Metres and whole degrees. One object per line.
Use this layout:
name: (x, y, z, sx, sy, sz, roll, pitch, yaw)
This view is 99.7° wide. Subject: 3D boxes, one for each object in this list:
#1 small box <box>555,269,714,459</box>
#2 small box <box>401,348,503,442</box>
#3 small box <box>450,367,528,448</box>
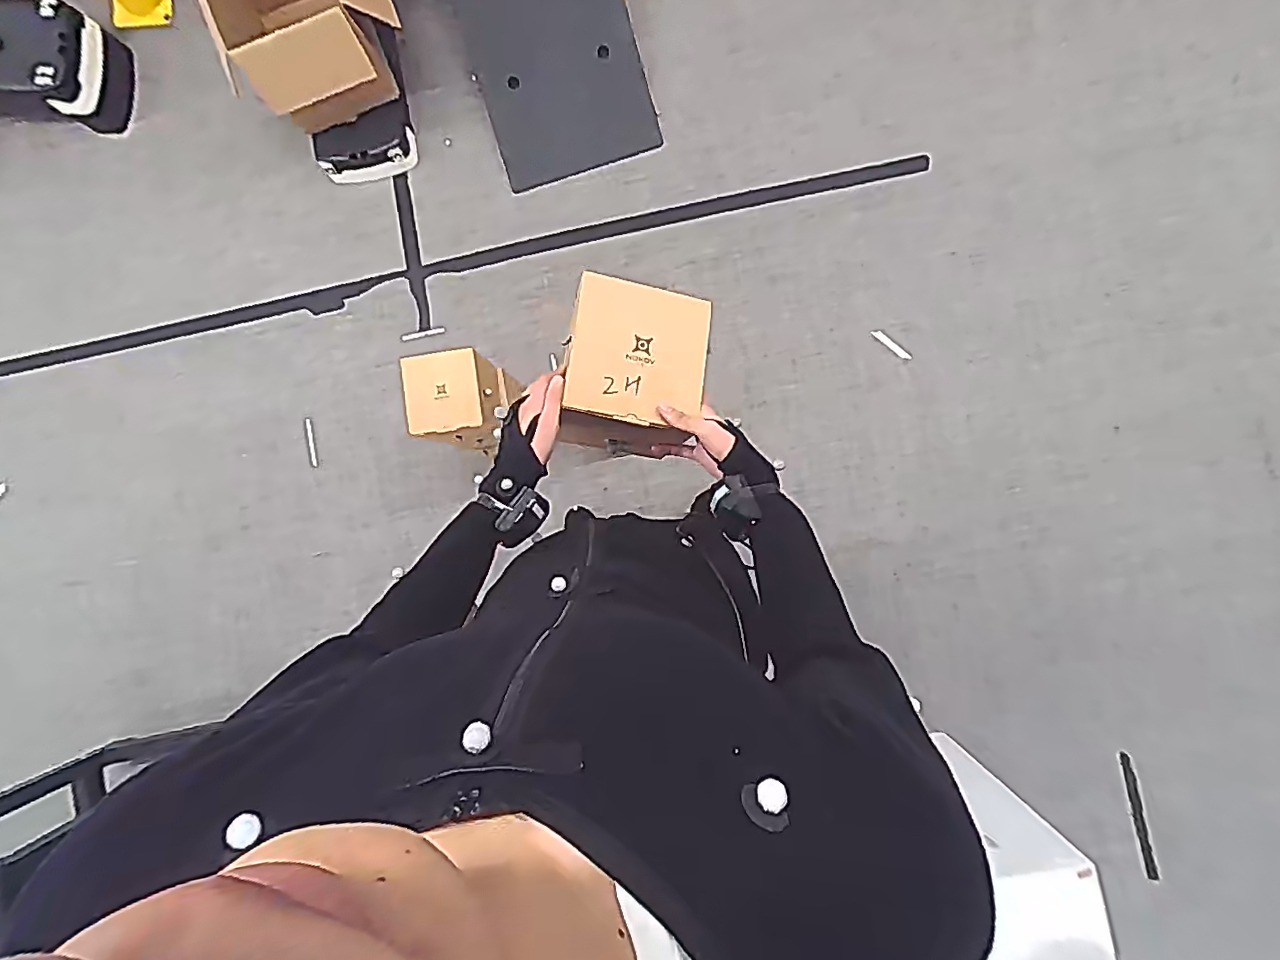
small box: (-0.015, -0.139, 0.713, 0.168, 0.176, 0.179, 10, 78, -11)
small box: (-0.428, -0.190, 1.252, 0.168, 0.176, 0.179, -8, 89, 2)
small box: (-0.409, -0.182, 1.414, 0.179, 0.176, 0.168, -10, 88, 1)
